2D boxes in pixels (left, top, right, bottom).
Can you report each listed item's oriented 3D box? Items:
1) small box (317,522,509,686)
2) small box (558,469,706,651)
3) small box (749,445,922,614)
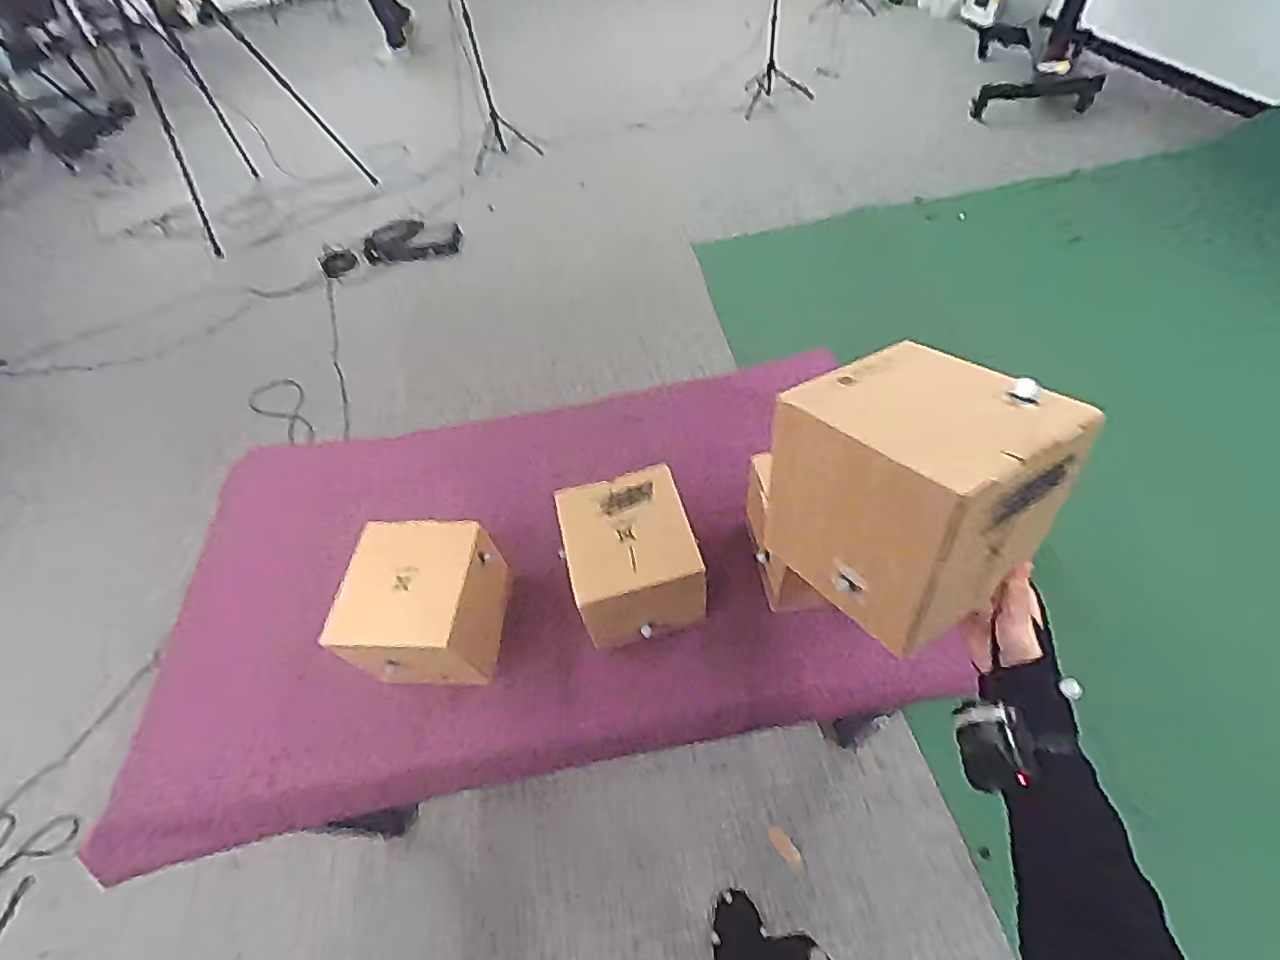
[{"bbox_3d":[-0.296,0.176,0.754,0.168,0.176,0.179,-1,52,7],"label":"small box"},{"bbox_3d":[-0.011,0.115,0.765,0.168,0.176,0.179,-14,54,-4],"label":"small box"},{"bbox_3d":[0.256,0.075,0.763,0.179,0.176,0.168,-8,52,0],"label":"small box"}]
